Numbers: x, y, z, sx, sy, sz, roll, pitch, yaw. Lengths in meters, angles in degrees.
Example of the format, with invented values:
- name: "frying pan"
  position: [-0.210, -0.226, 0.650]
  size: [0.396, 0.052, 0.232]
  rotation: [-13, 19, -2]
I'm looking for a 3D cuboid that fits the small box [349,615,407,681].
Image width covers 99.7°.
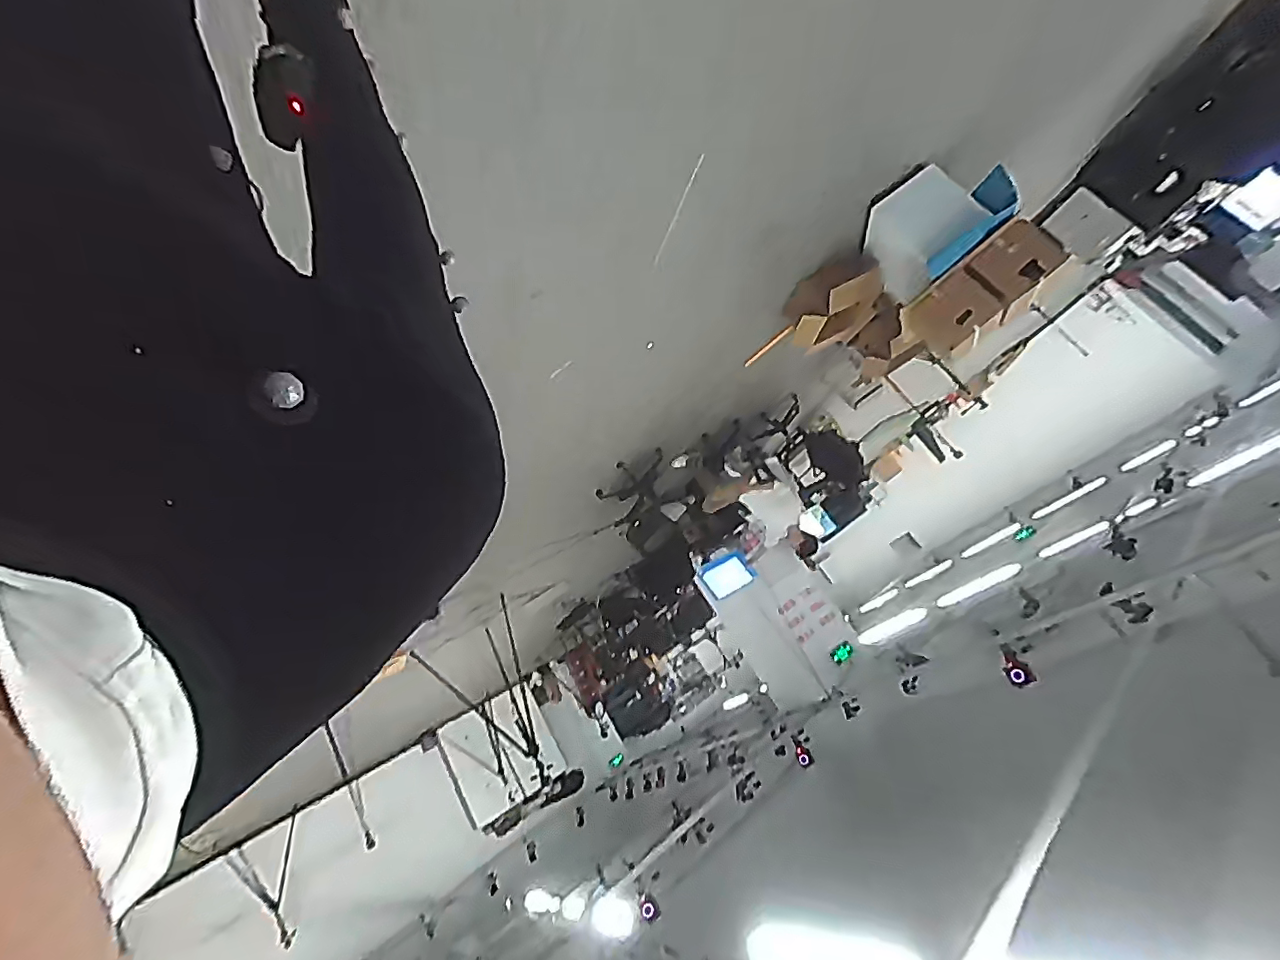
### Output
- name: "small box"
  position: [-1.039, 0.658, 2.138]
  size: [0.168, 0.176, 0.179]
  rotation: [-18, 156, -36]

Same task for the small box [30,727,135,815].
- name: "small box"
  position: [-1.669, 0.870, 1.624]
  size: [0.168, 0.176, 0.179]
  rotation: [-22, 159, -34]
